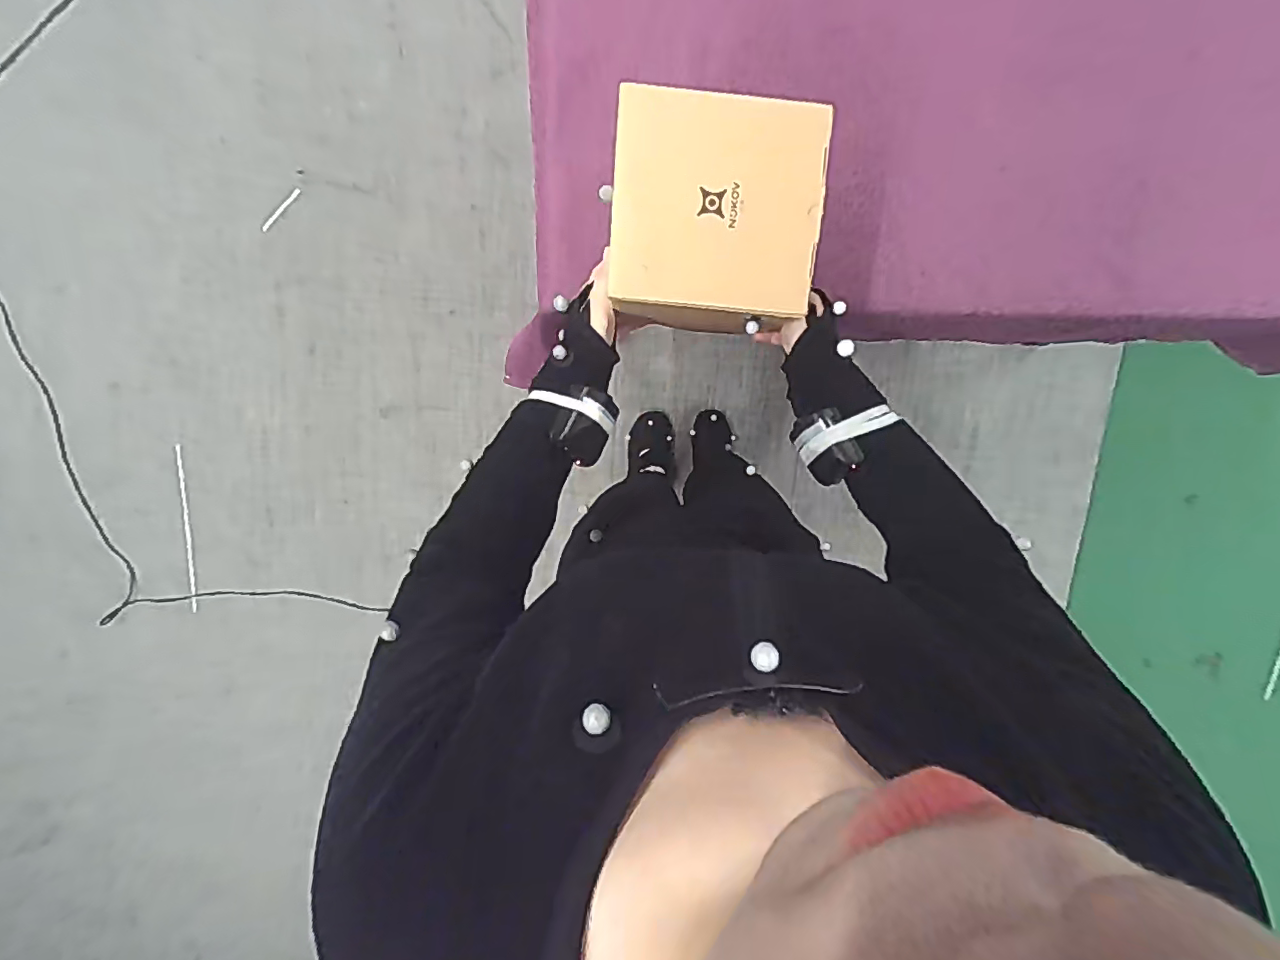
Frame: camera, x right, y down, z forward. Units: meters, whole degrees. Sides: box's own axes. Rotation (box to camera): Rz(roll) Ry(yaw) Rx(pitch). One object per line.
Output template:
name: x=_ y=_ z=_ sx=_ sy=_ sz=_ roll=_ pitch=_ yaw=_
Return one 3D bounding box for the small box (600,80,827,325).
small box: x=0.058 y=-0.248 z=0.526 sx=0.179 sy=0.176 sz=0.168 roll=4 pitch=100 yaw=-2
